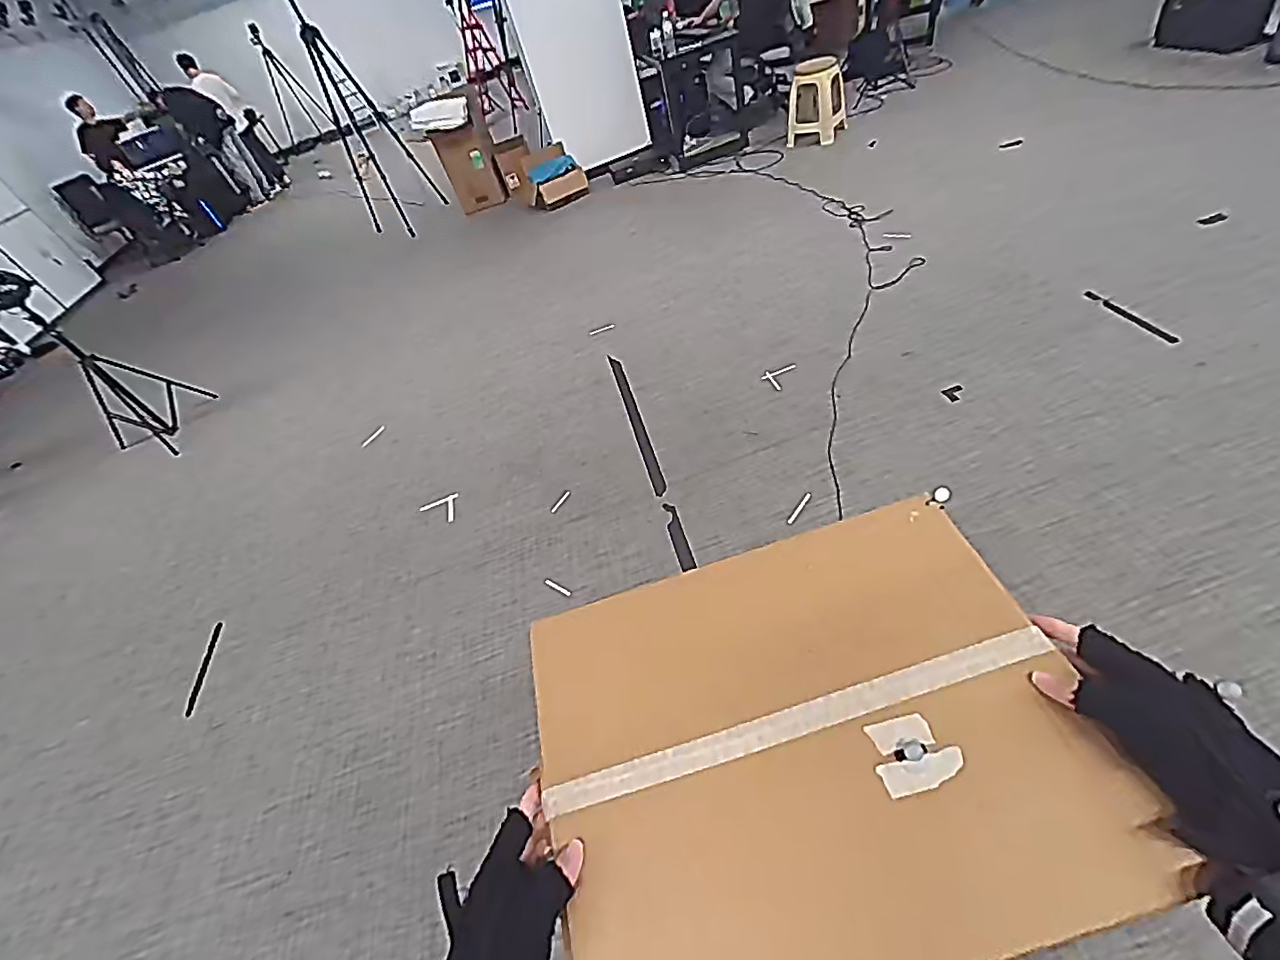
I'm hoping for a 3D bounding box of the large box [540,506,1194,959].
[{"bbox_3d":[0.154,0.291,0.542,0.408,0.320,0.320,-19,49,0],"label":"large box"}]
